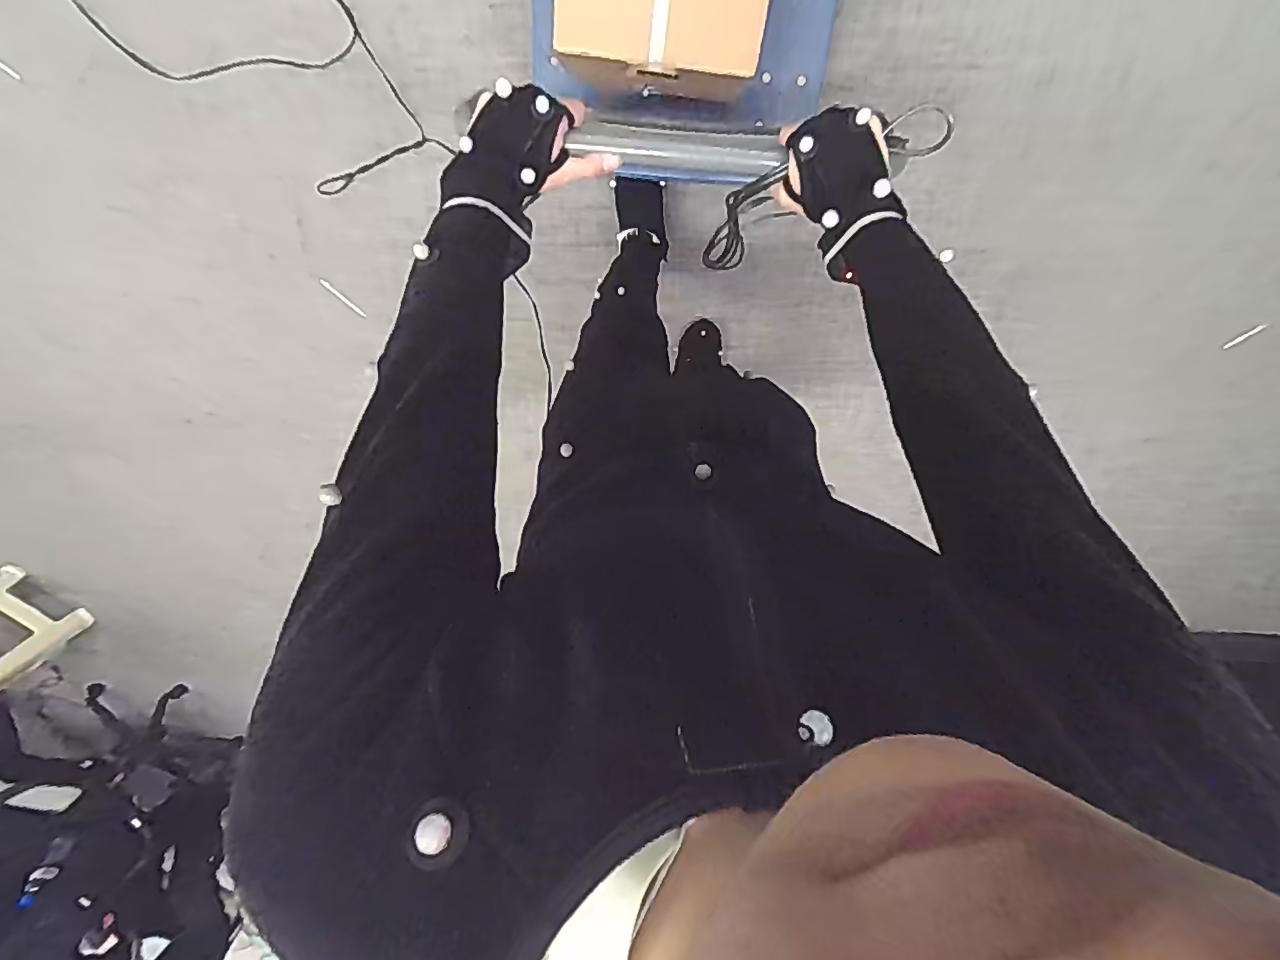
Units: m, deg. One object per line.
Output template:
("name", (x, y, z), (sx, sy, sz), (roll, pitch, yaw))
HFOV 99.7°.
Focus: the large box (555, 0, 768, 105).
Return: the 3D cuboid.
("large box", (0.052, -0.875, 0.868), (0.320, 0.320, 0.408), (7, 118, -1))
